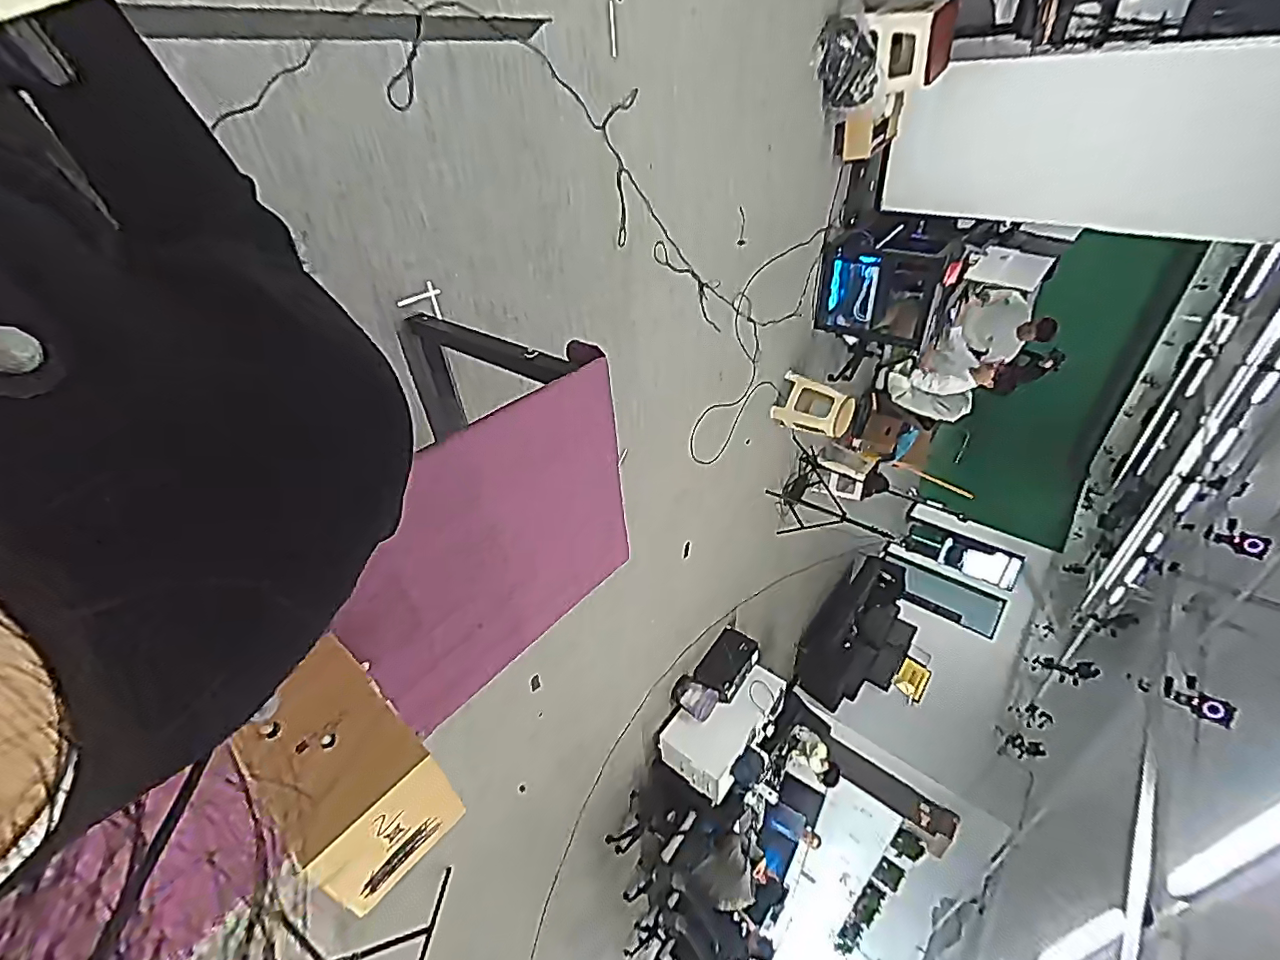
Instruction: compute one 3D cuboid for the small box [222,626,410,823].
[{"bbox_3d":[-0.497,0.365,0.829,0.179,0.176,0.168,-39,140,-35],"label":"small box"}]
